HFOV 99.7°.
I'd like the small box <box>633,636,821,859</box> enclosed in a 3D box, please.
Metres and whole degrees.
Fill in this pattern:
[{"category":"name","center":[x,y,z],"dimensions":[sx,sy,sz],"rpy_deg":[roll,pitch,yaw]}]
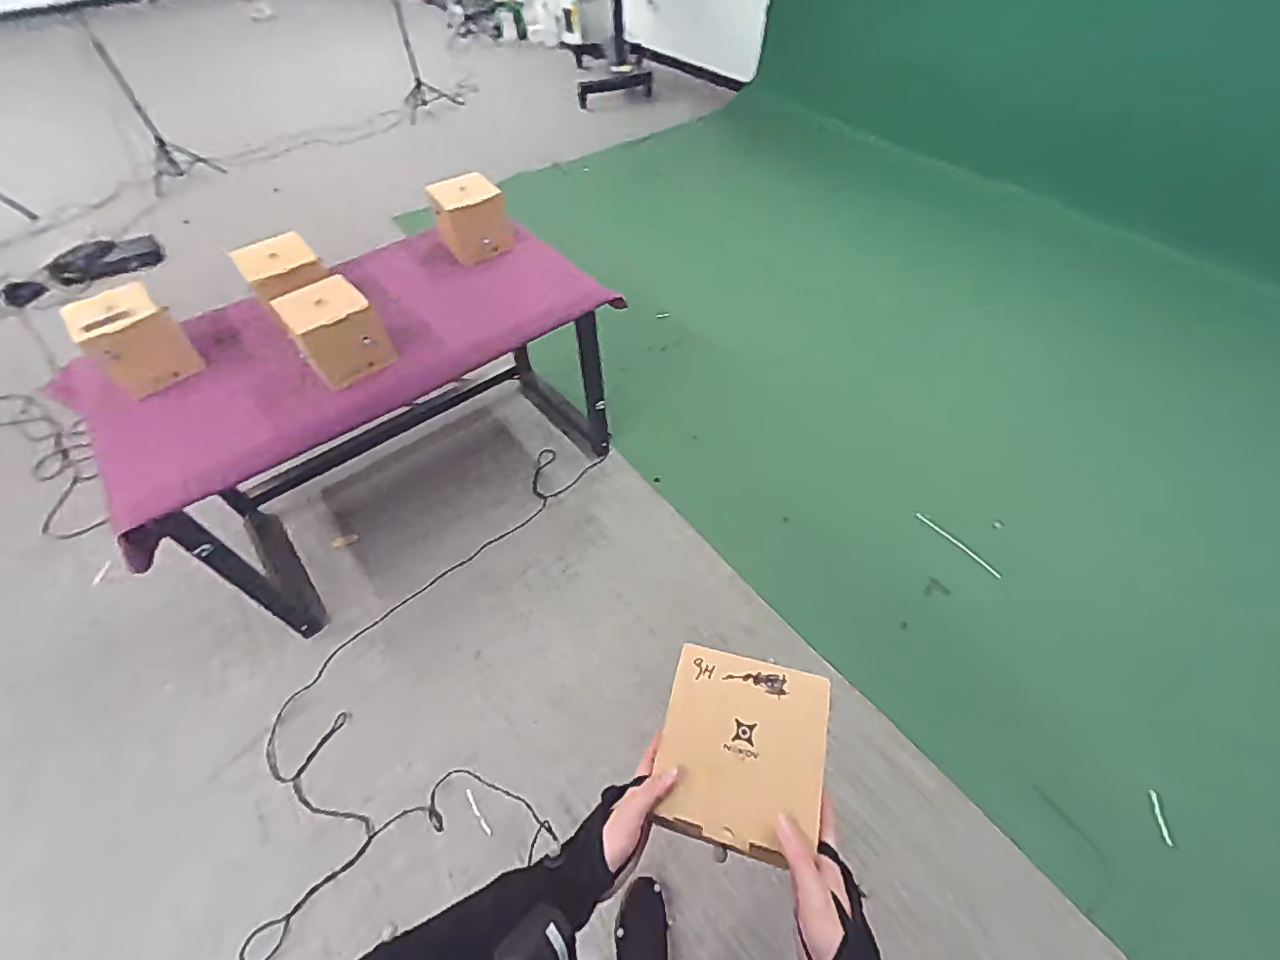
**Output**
[{"category":"small box","center":[0.101,0.306,0.617],"dimensions":[0.168,0.176,0.179],"rpy_deg":[10,57,13]}]

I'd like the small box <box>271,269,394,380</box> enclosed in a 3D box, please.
[{"category":"small box","center":[-0.715,-0.359,1.273],"dimensions":[0.168,0.176,0.179],"rpy_deg":[-36,58,-23]}]

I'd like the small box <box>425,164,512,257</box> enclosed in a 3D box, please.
[{"category":"small box","center":[-0.498,-0.787,1.584],"dimensions":[0.168,0.176,0.179],"rpy_deg":[-30,59,-18]}]

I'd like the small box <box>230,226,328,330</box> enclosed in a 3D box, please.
[{"category":"small box","center":[-0.905,-0.520,1.400],"dimensions":[0.168,0.176,0.179],"rpy_deg":[-34,61,-22]}]
